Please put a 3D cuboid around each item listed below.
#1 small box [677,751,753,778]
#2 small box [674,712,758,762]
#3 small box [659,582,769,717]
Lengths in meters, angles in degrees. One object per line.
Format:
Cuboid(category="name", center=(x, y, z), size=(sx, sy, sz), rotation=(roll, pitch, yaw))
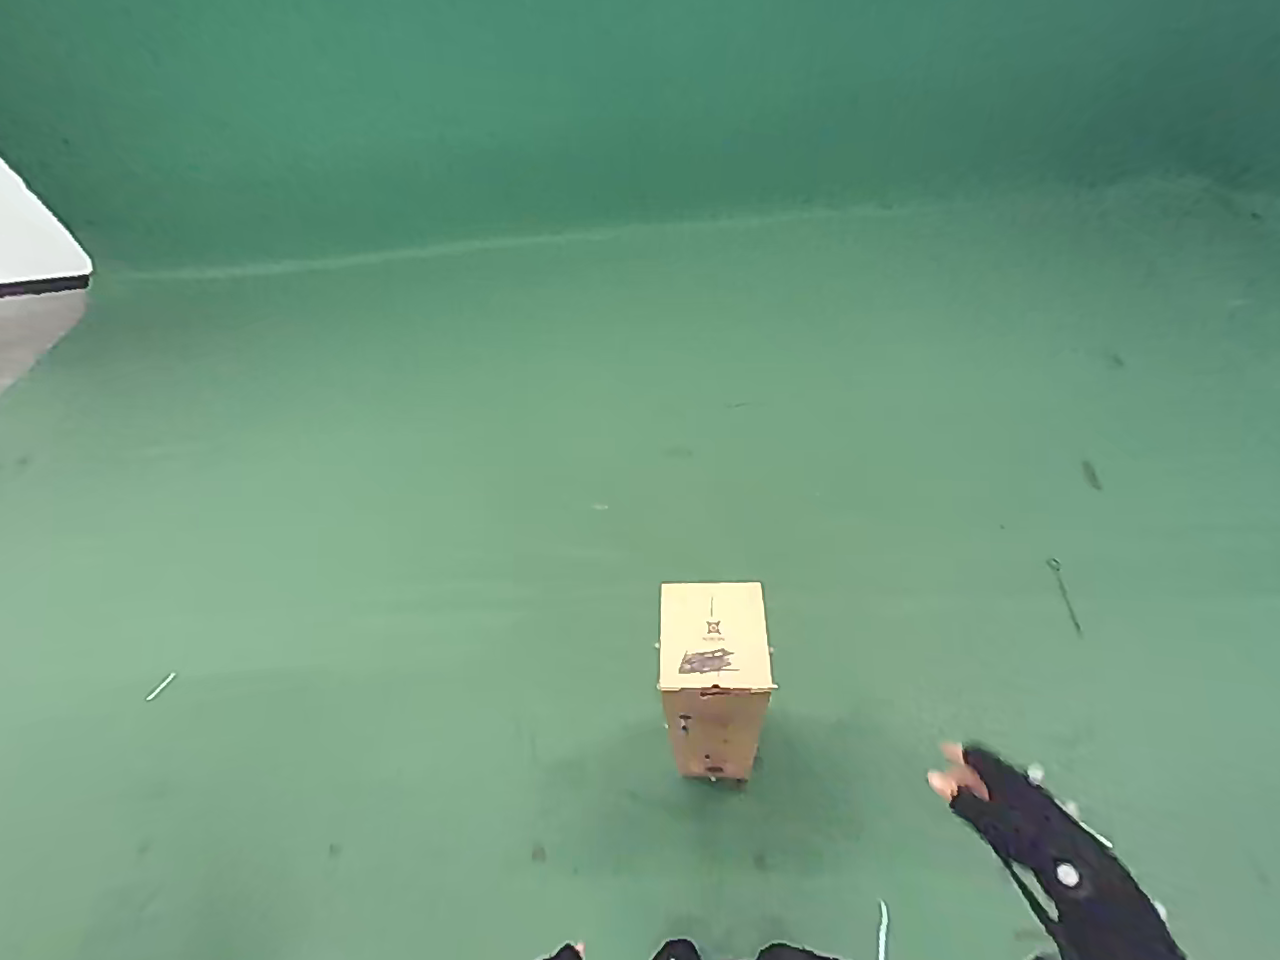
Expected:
Cuboid(category="small box", center=(0.176, 0.593, 1.288), size=(0.168, 0.176, 0.179), rotation=(-1, 51, 7))
Cuboid(category="small box", center=(0.157, 0.491, 1.162), size=(0.168, 0.176, 0.179), rotation=(-2, 52, 6))
Cuboid(category="small box", center=(0.121, 0.288, 0.906), size=(0.168, 0.176, 0.179), rotation=(-2, 51, 6))
